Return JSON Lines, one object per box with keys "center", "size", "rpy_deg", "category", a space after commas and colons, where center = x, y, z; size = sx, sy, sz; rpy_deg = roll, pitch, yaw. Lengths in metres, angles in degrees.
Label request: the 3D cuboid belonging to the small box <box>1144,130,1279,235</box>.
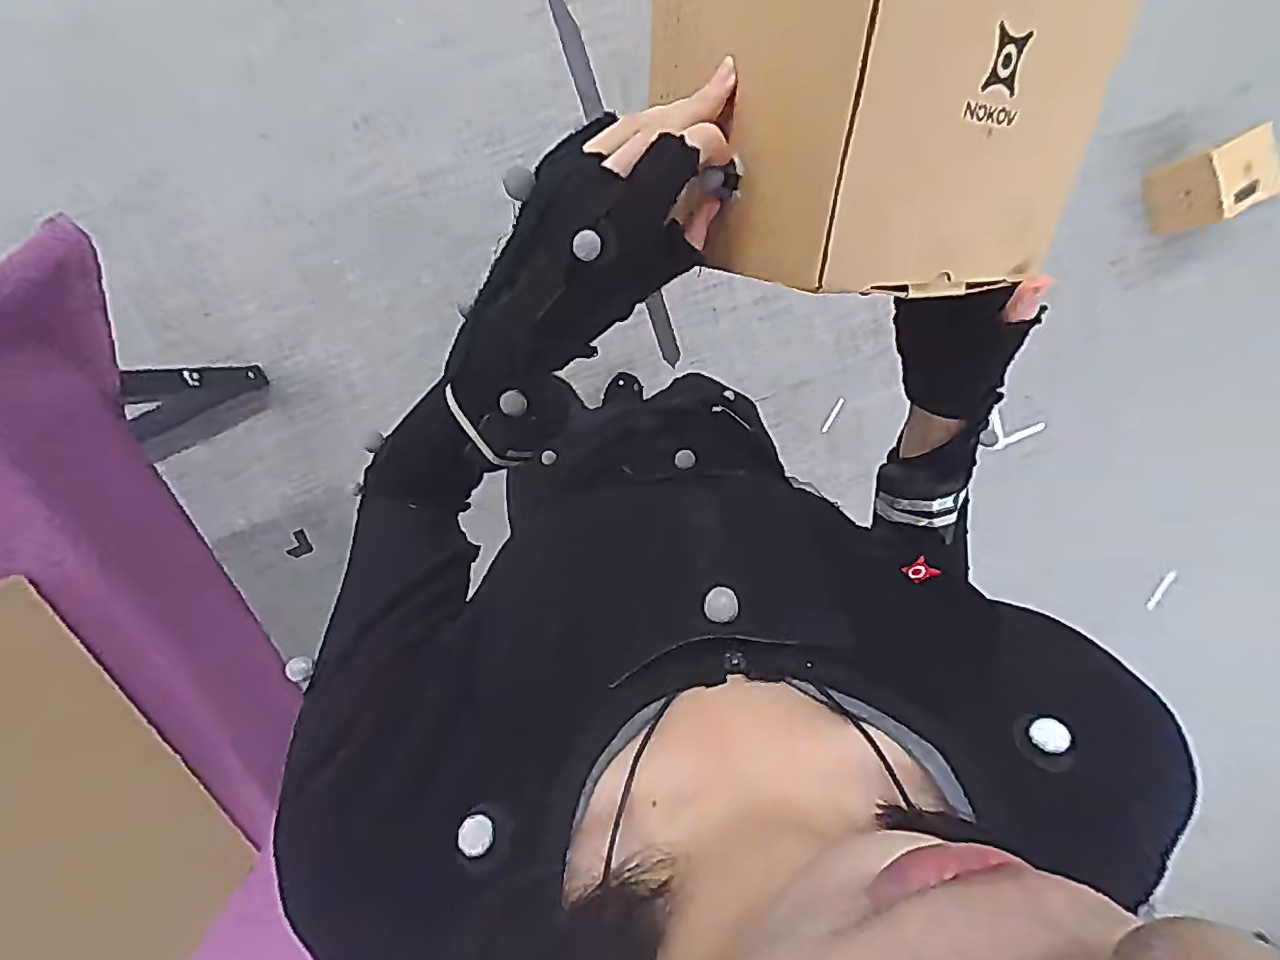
{"center": [1.494, -0.768, 1.423], "size": [0.168, 0.176, 0.179], "rpy_deg": [-27, 103, 0], "category": "small box"}
